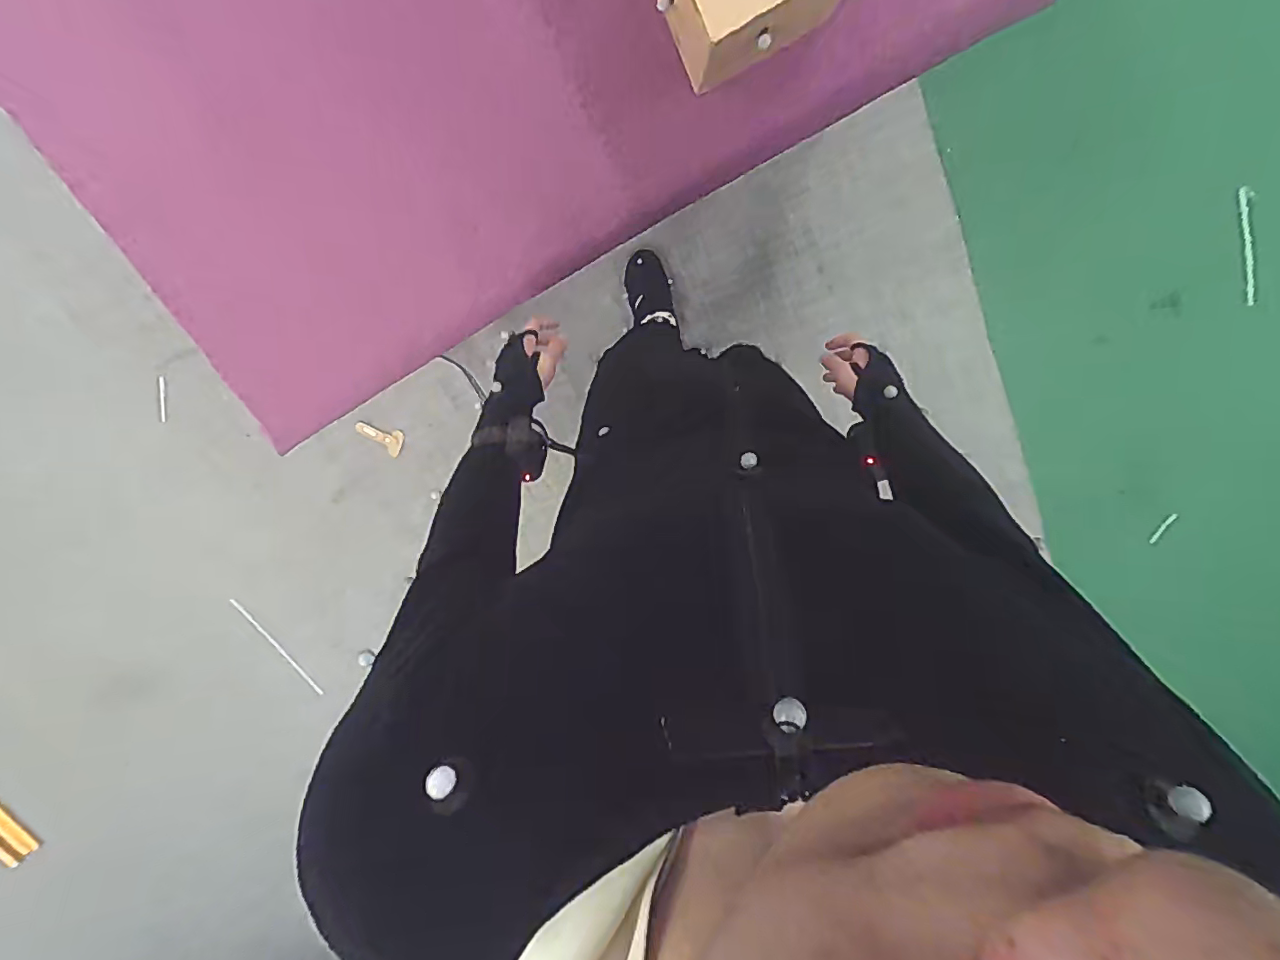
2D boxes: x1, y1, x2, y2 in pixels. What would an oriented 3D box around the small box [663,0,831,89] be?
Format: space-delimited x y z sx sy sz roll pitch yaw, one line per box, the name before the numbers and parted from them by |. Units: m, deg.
small box | 0.109 -0.560 0.570 0.179 0.176 0.168 -24 108 11
